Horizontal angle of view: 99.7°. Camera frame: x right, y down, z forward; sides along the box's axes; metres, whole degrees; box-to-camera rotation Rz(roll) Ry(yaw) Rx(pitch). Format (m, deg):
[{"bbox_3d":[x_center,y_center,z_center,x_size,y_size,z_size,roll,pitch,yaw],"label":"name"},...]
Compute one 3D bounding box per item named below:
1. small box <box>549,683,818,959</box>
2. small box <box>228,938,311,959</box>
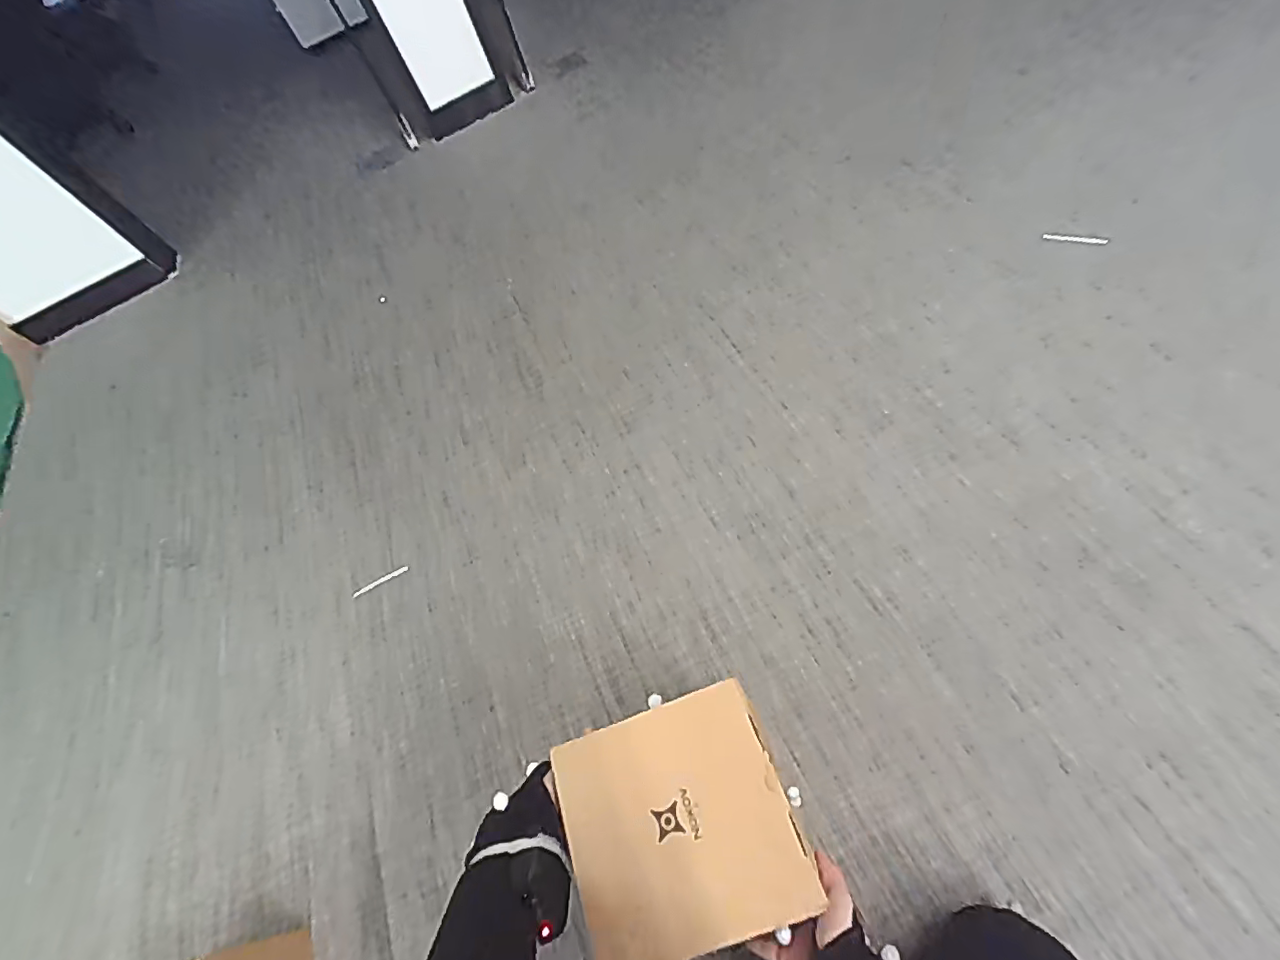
[{"bbox_3d":[0.042,0.307,0.489,0.179,0.176,0.168,-22,58,2],"label":"small box"},{"bbox_3d":[-0.503,0.673,0.618,0.179,0.176,0.168,-30,57,-3],"label":"small box"}]
